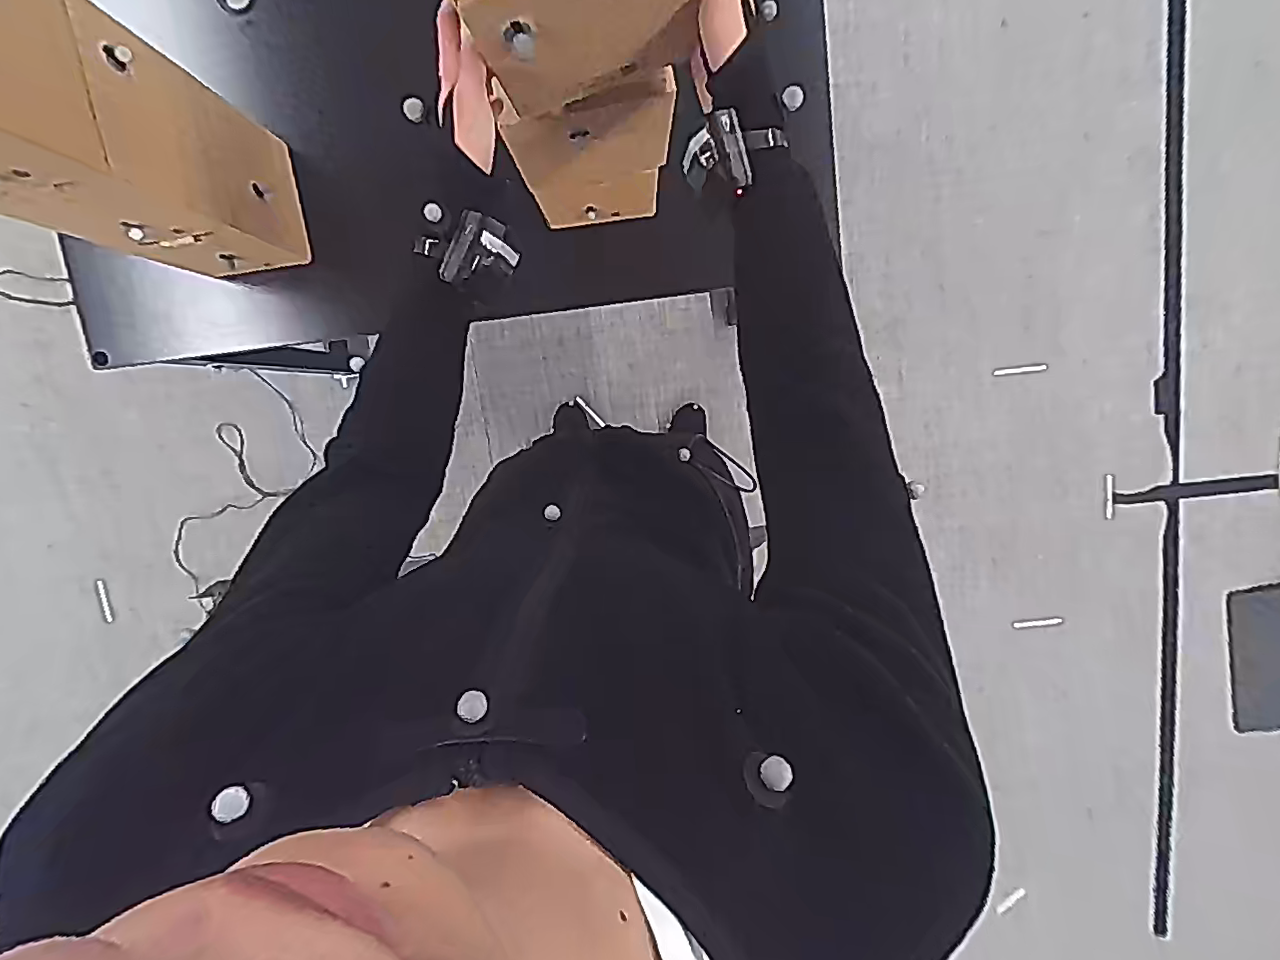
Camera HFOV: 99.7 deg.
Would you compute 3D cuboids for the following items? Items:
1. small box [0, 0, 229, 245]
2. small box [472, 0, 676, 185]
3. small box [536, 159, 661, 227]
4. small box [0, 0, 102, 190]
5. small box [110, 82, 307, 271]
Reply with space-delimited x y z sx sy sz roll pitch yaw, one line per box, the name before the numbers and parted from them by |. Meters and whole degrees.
small box | -0.596 -0.376 0.581 0.168 0.176 0.179 -8 99 1
small box | -0.064 -0.441 0.577 0.179 0.176 0.168 -11 99 0
small box | -0.066 -0.472 0.739 0.168 0.176 0.179 -8 99 1
small box | -0.594 -0.351 0.420 0.168 0.176 0.179 -8 99 2
small box | -0.598 -0.398 0.745 0.168 0.176 0.179 -9 99 1
